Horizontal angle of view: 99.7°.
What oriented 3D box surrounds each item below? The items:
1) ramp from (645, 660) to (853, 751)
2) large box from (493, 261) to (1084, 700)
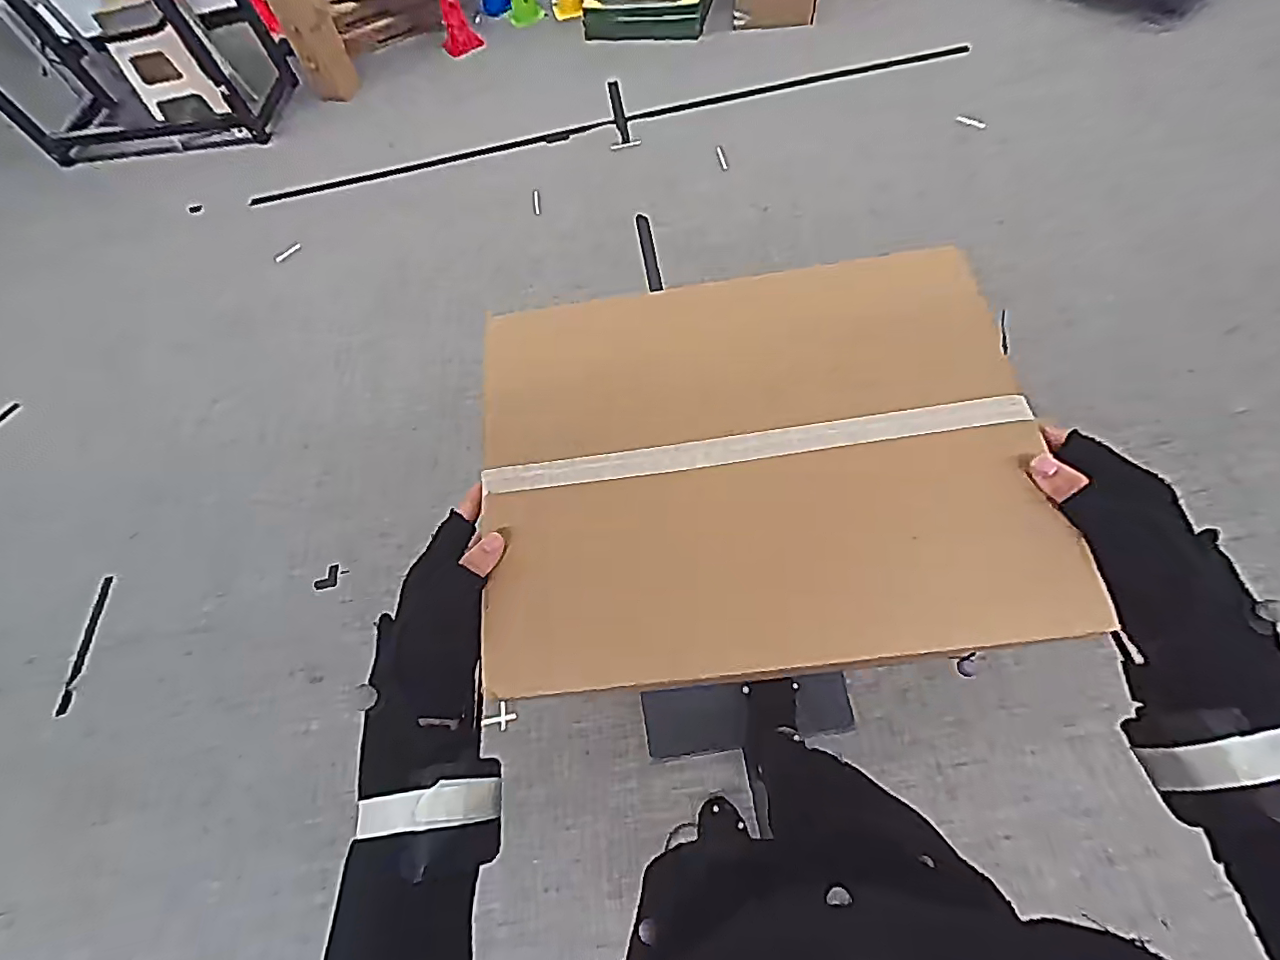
[{"bbox_3d":[0.192,0.142,1.440,0.509,0.206,0.991,-12,63,0],"label":"ramp"},{"bbox_3d":[0.099,0.034,0.557,0.408,0.320,0.320,-8,68,4],"label":"large box"}]
